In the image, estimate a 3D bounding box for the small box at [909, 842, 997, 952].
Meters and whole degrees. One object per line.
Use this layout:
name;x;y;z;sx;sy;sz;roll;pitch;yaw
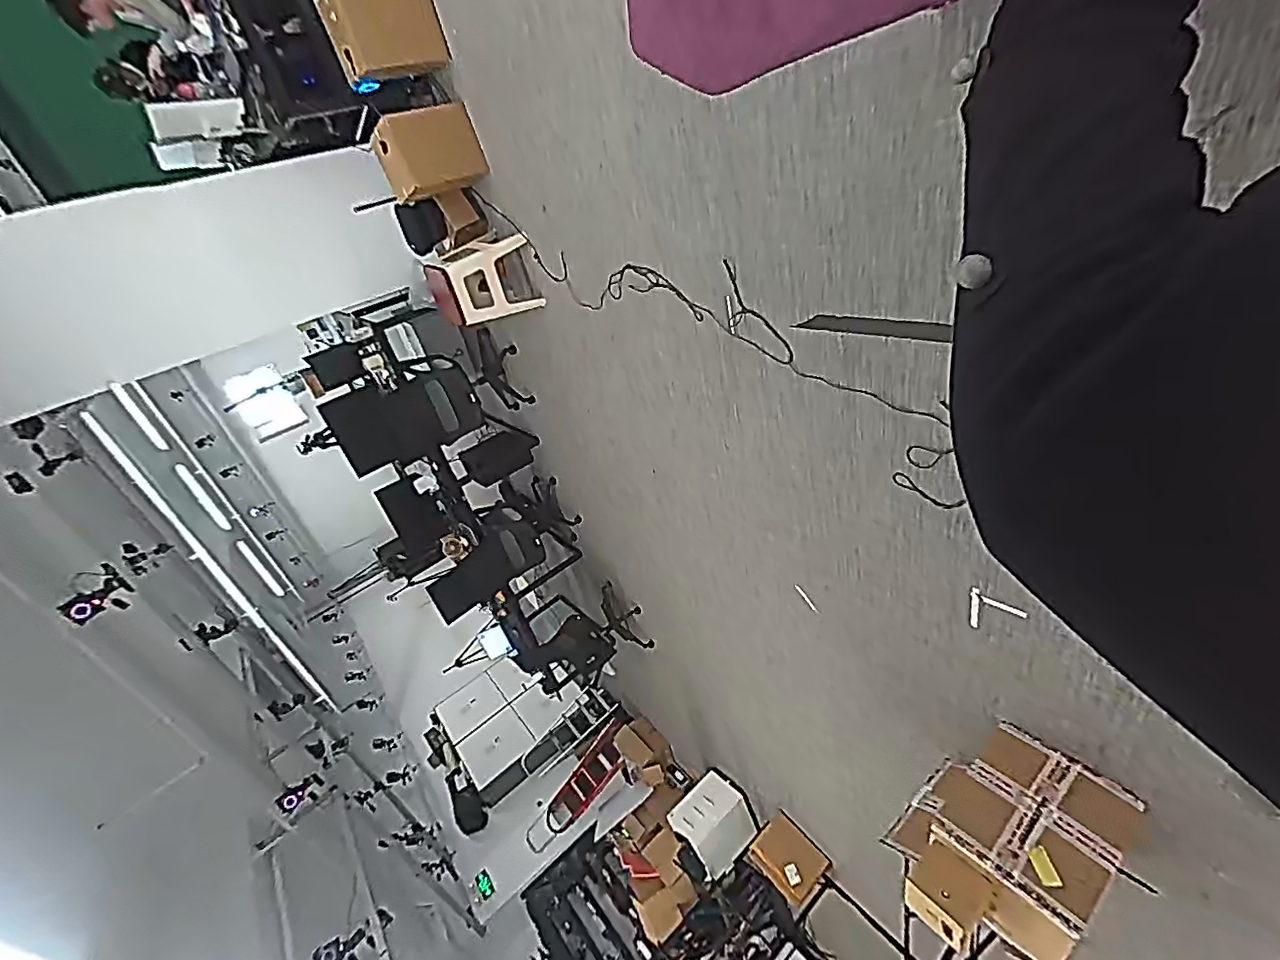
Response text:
small box;0.953;1.262;1.648;0.179;0.176;0.168;27;139;50
